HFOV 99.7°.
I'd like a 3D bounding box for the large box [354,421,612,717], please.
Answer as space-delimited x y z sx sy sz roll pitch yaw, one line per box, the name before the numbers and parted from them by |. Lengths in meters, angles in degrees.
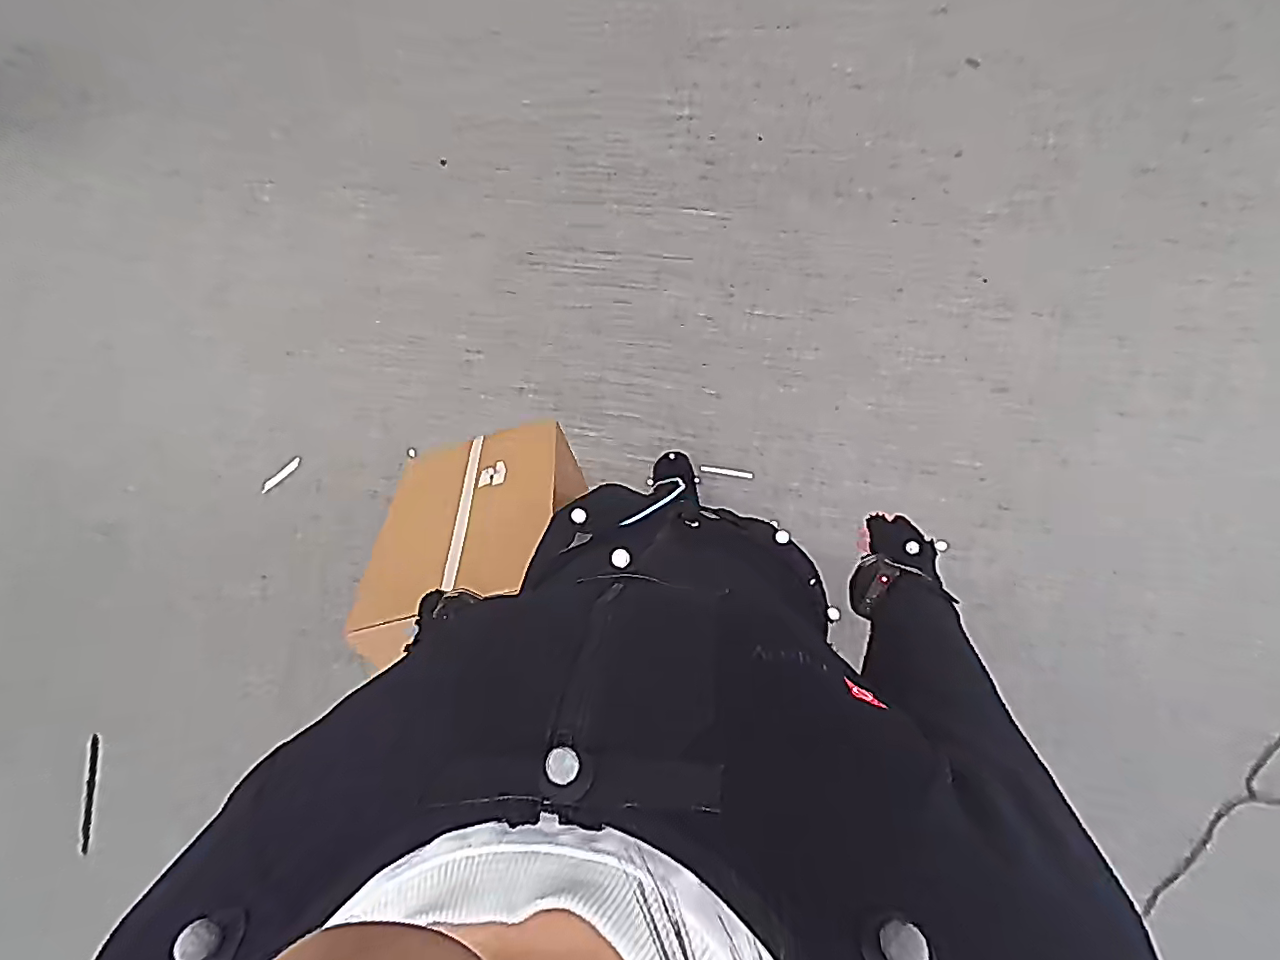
large box | -0.252 0.158 1.011 0.320 0.408 0.320 -14 130 6
